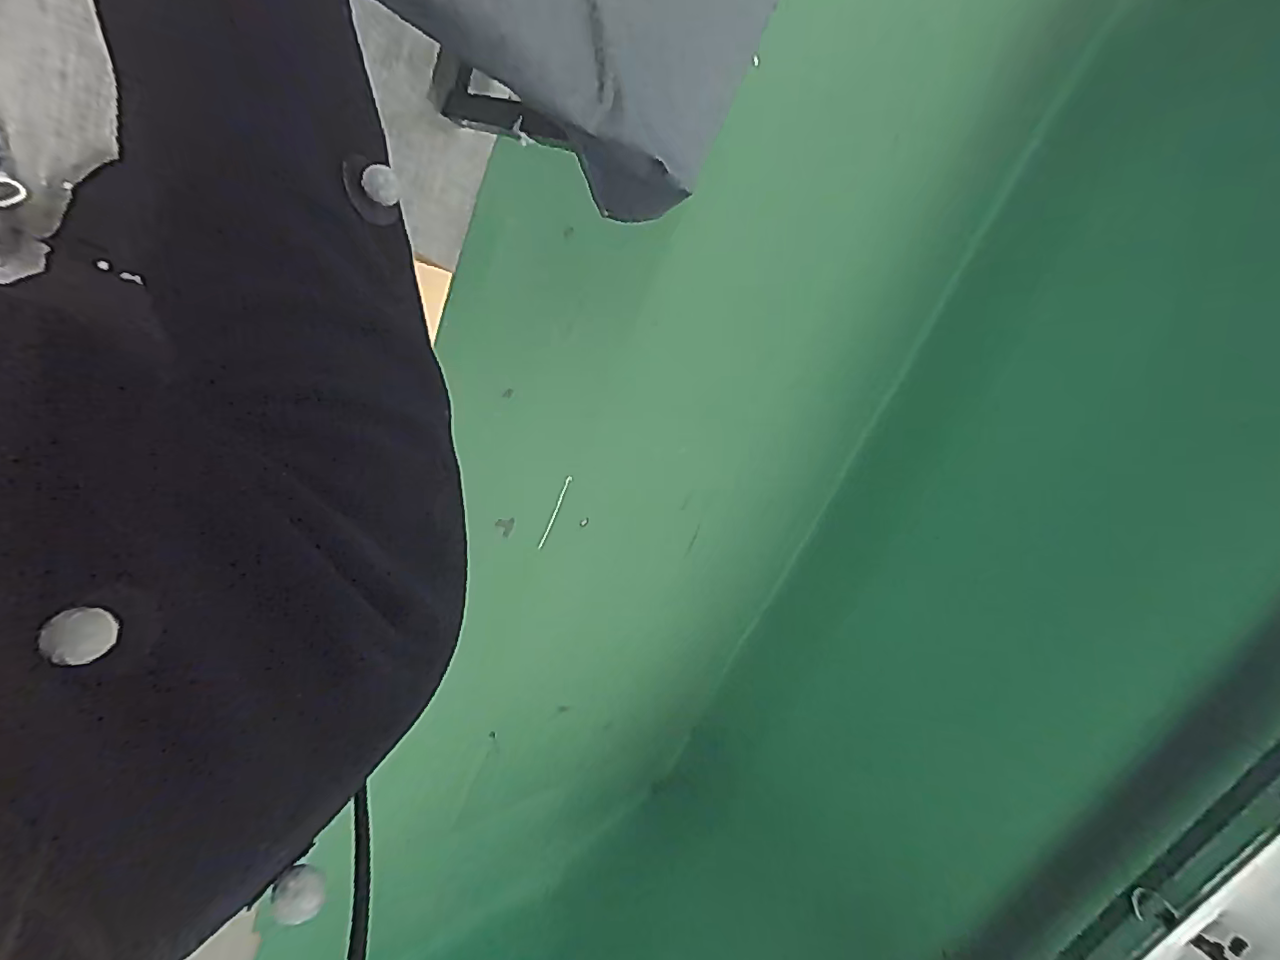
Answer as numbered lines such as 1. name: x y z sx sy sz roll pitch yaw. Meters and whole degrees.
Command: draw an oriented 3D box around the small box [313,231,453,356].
1. small box: -0.495 -0.357 1.036 0.179 0.176 0.168 1 118 -48
